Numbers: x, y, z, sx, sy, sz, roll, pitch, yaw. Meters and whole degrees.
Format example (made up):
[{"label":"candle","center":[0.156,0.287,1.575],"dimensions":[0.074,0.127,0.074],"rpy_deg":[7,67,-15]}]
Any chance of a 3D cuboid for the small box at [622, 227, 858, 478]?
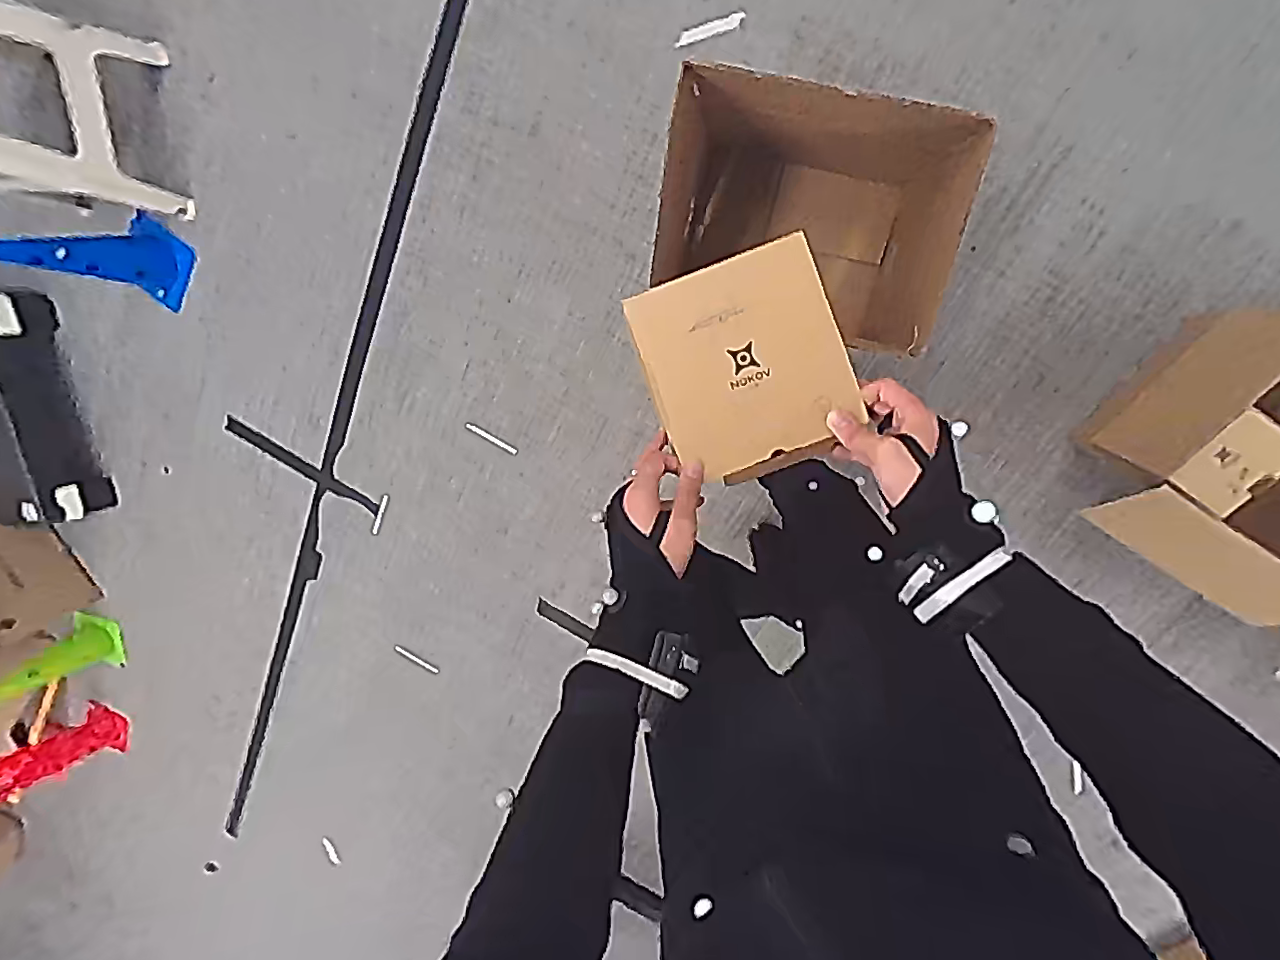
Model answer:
[{"label":"small box","center":[0.091,-0.118,0.547],"dimensions":[0.168,0.176,0.179],"rpy_deg":[-20,96,4]}]
